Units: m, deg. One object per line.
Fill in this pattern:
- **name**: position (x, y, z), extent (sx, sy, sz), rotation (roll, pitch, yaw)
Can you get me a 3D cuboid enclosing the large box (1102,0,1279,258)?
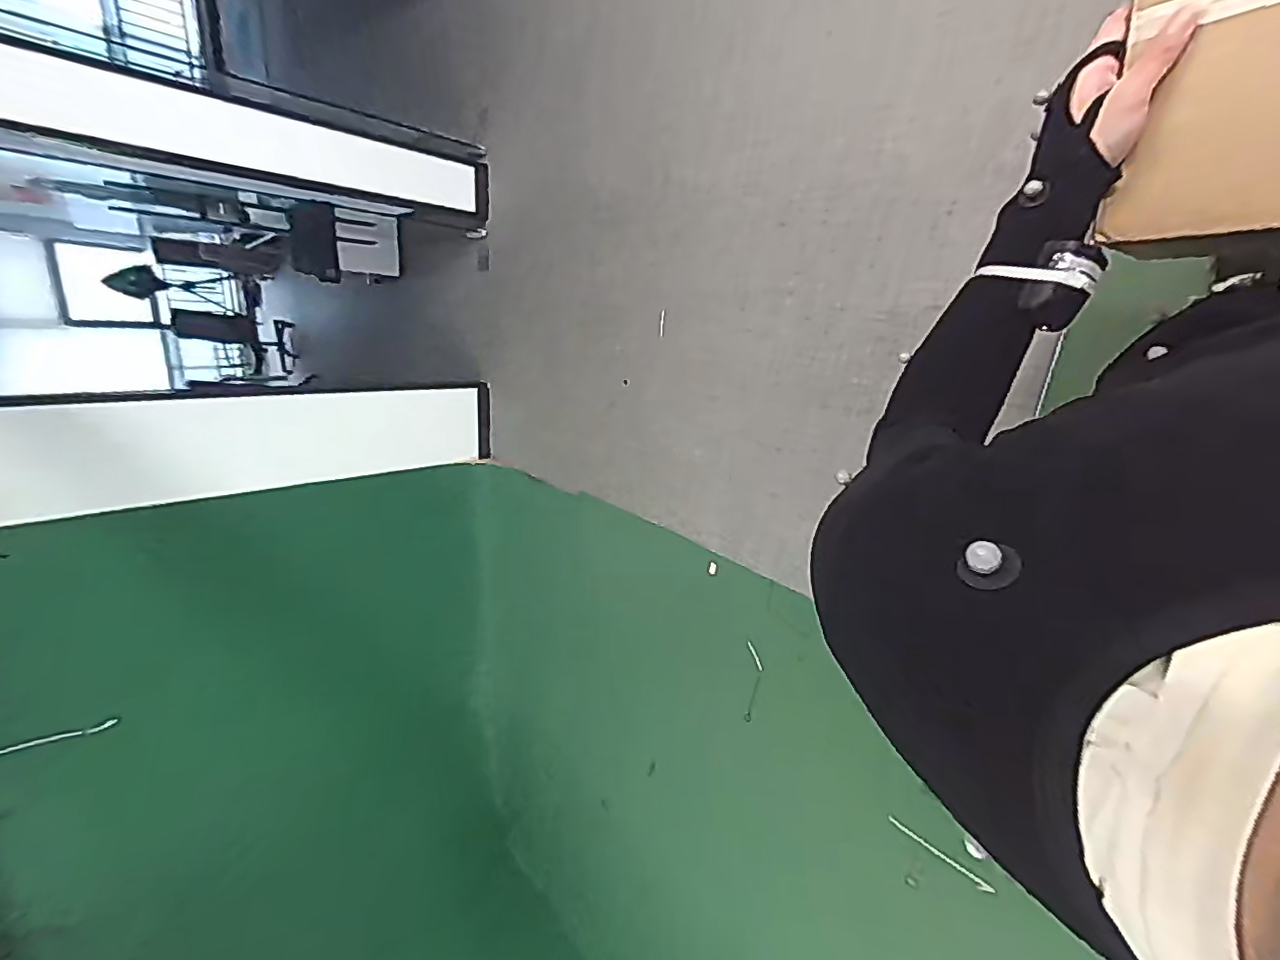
- **large box**: position (0.640, -0.359, 0.397), extent (0.408, 0.320, 0.320), rotation (14, 113, 44)
